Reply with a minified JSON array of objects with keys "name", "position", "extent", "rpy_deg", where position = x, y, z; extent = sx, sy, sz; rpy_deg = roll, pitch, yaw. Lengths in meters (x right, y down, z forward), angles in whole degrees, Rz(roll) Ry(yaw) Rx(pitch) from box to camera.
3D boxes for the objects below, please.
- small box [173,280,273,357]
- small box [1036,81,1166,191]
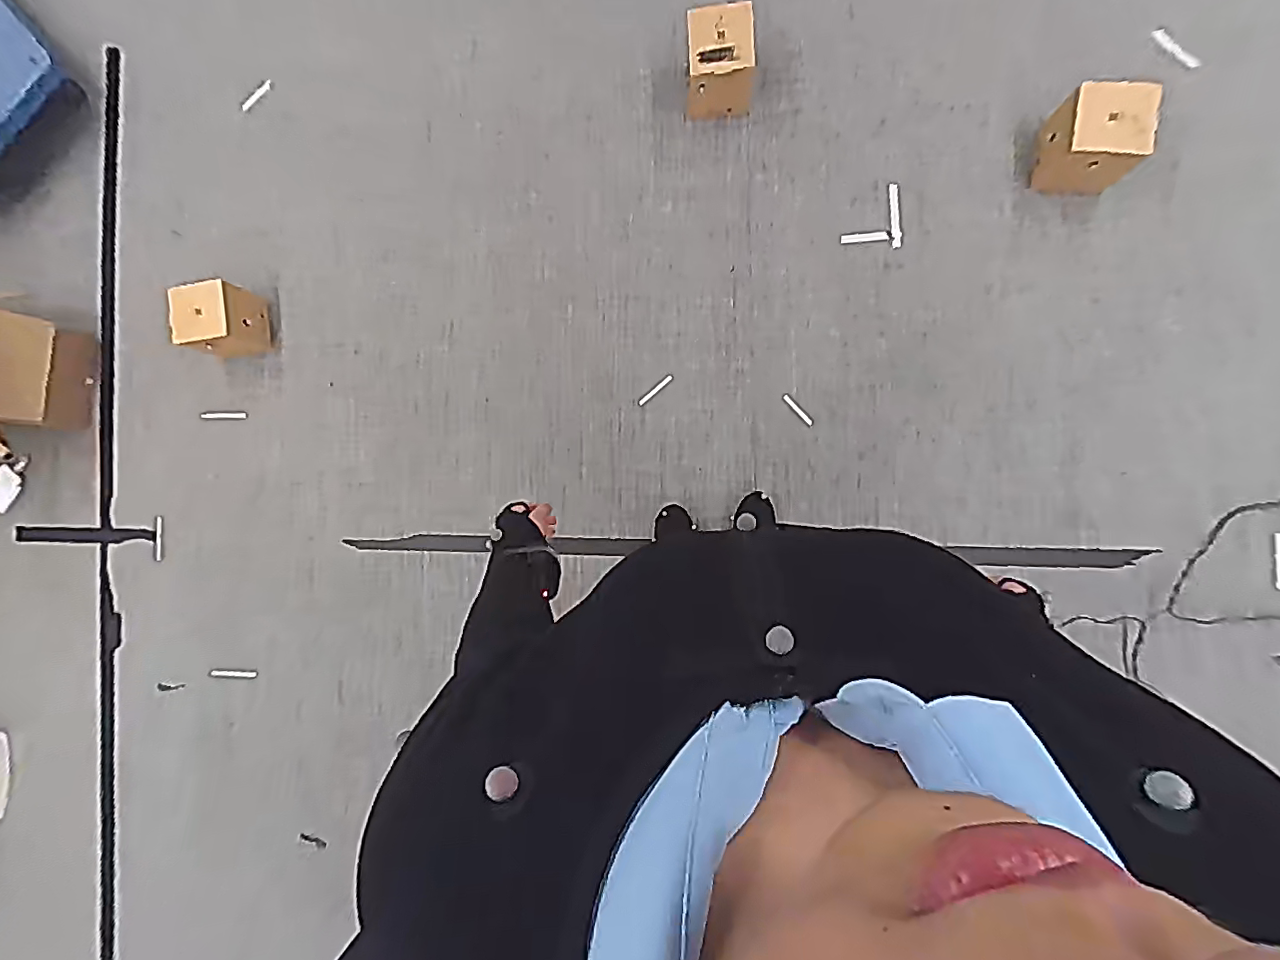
[{"name":"small box","position":[-1.233,-0.477,1.614],"extent":[0.179,0.176,0.168],"rpy_deg":[-8,88,7]},{"name":"small box","position":[1.118,-0.836,1.327],"extent":[0.179,0.176,0.168],"rpy_deg":[9,91,7]}]
